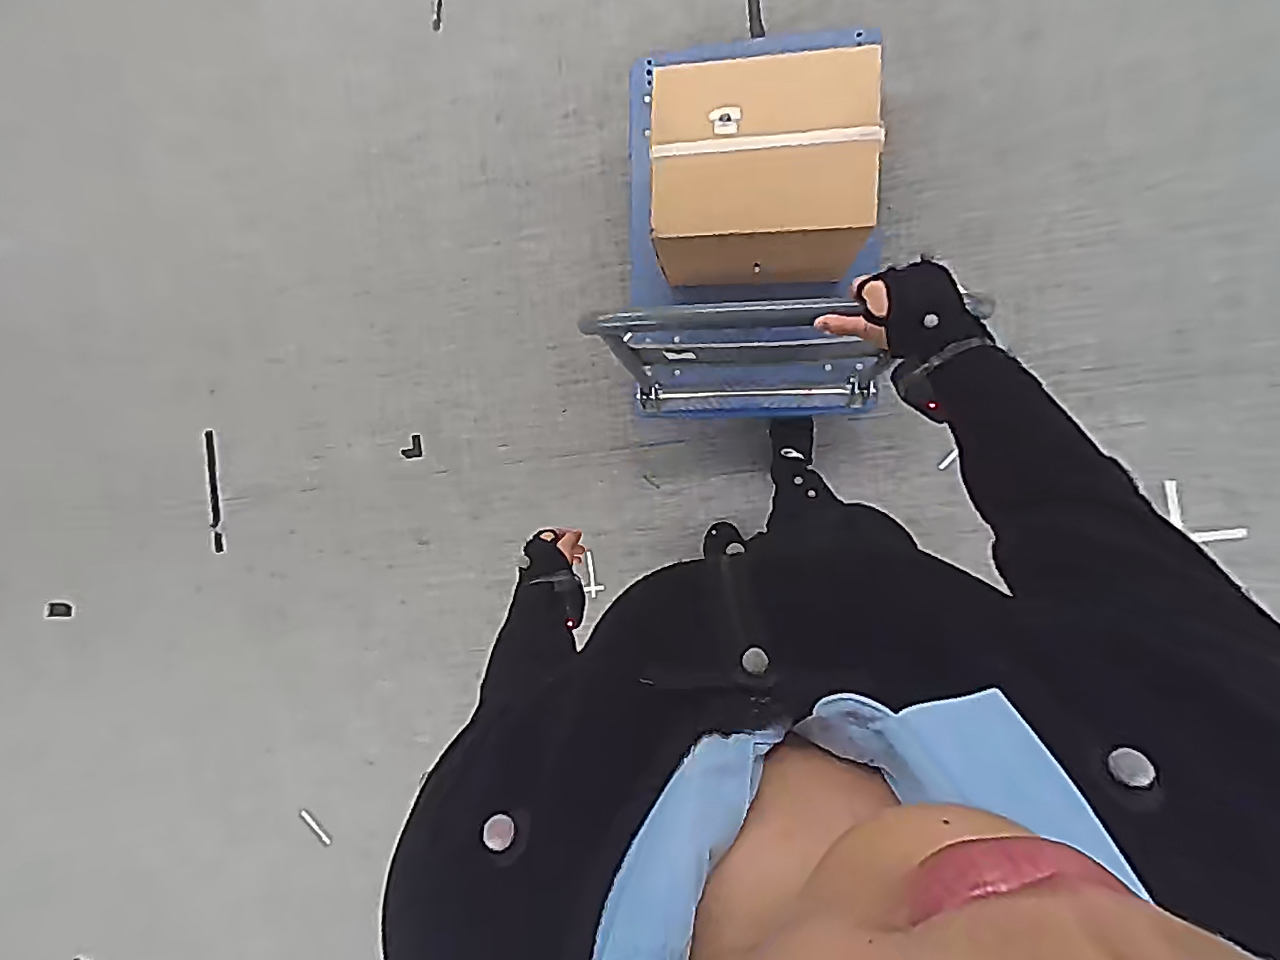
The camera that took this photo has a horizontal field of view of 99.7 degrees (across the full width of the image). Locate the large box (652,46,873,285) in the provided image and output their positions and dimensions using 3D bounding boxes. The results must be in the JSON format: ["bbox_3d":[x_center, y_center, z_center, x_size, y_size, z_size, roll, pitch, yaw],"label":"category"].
[{"bbox_3d":[0.247,-0.620,1.142,0.408,0.320,0.320,1,92,11],"label":"large box"}]
